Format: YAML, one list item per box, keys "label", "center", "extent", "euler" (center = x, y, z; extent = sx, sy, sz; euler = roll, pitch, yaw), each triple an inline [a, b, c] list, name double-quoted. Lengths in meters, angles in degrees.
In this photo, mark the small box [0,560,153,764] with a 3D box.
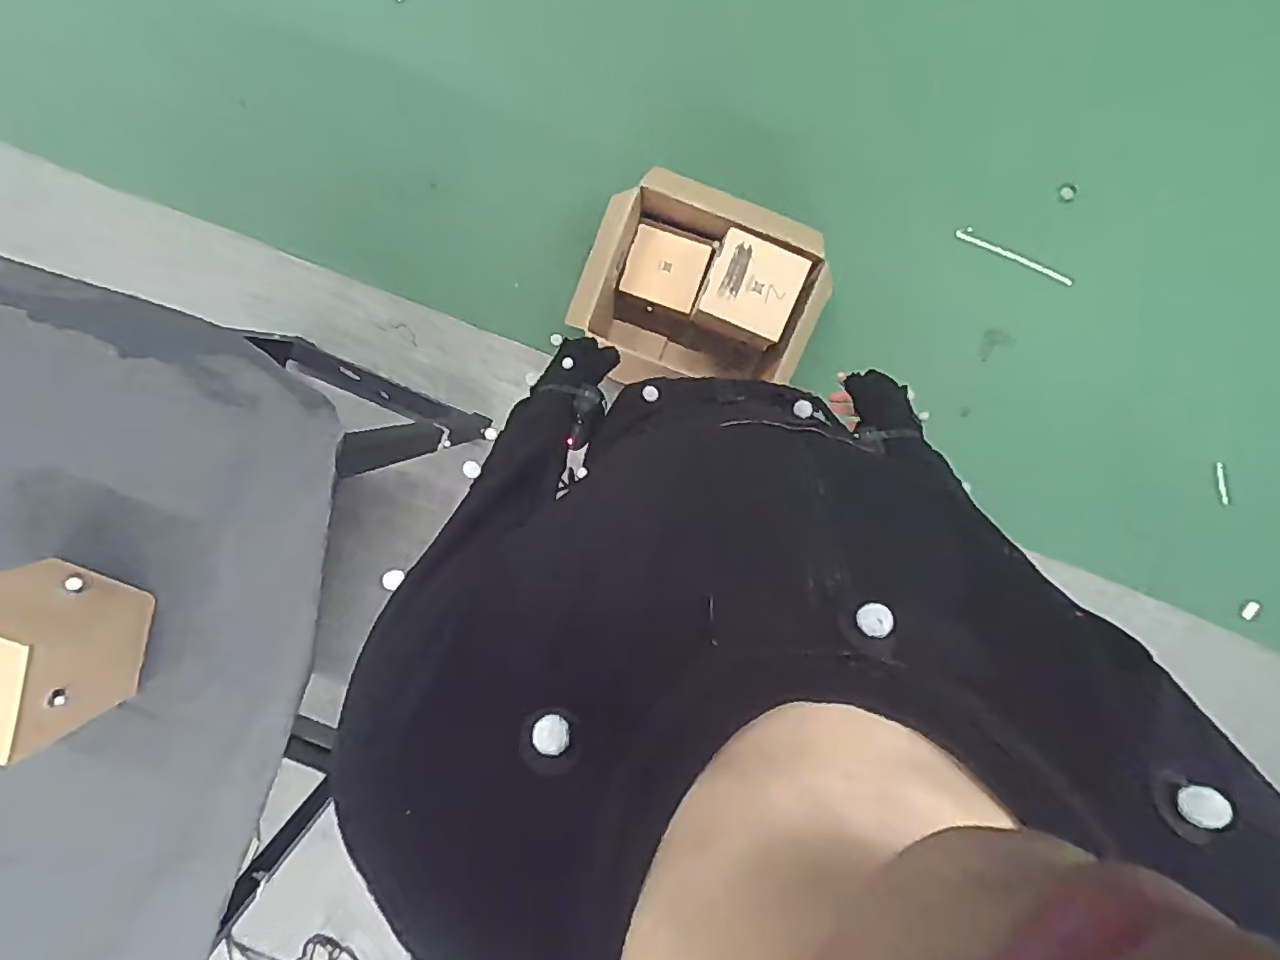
- label: "small box"
  center: [-0.827, 0.236, 0.740]
  extent: [0.168, 0.176, 0.179]
  euler: [21, 100, -1]
